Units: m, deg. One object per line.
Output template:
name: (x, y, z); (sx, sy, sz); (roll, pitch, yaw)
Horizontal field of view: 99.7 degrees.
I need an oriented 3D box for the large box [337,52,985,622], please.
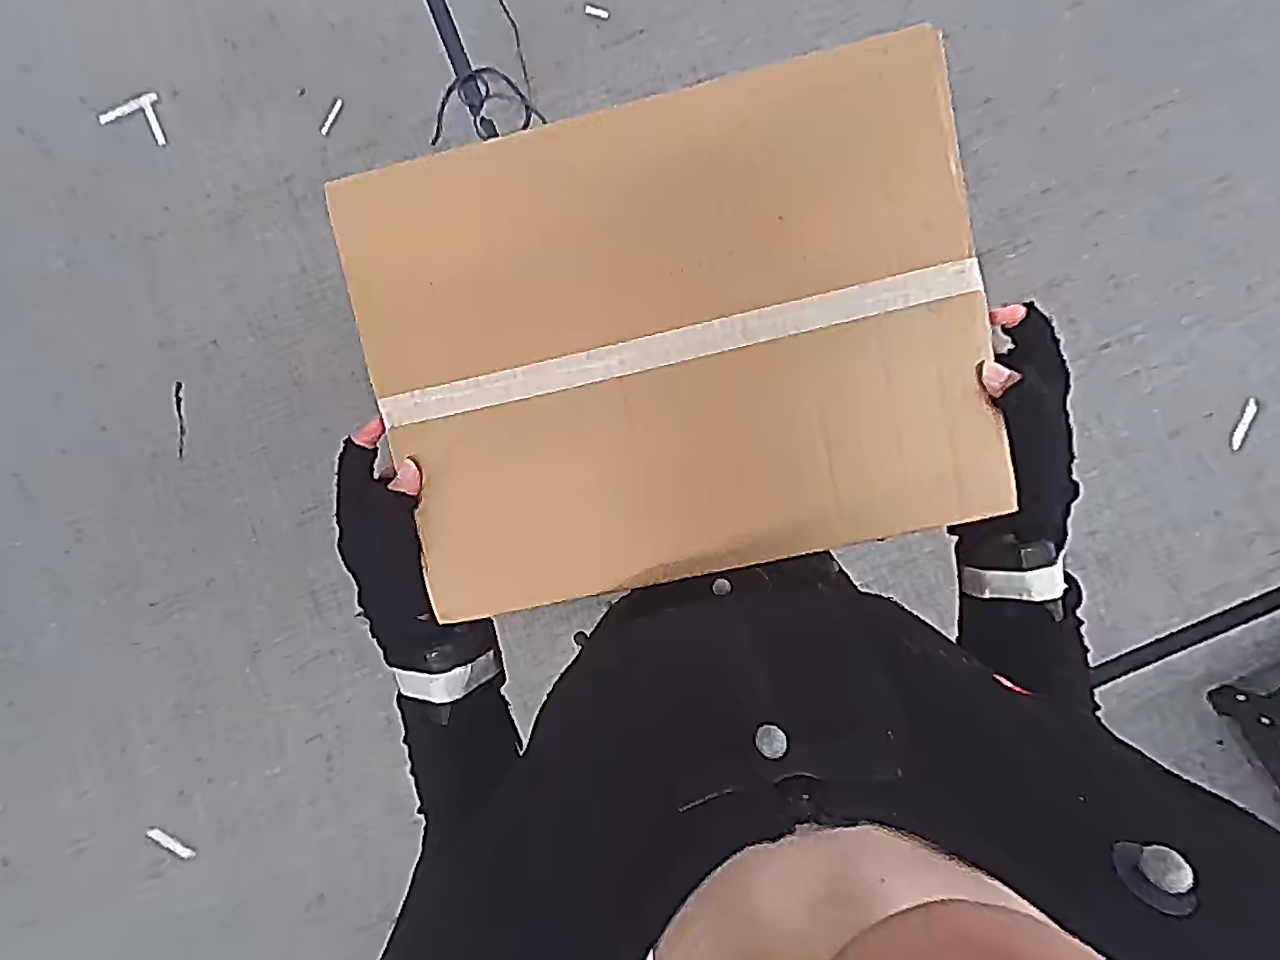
large box: (0.023, -0.101, 0.521); (0.408, 0.320, 0.320); (-12, 94, 4)
